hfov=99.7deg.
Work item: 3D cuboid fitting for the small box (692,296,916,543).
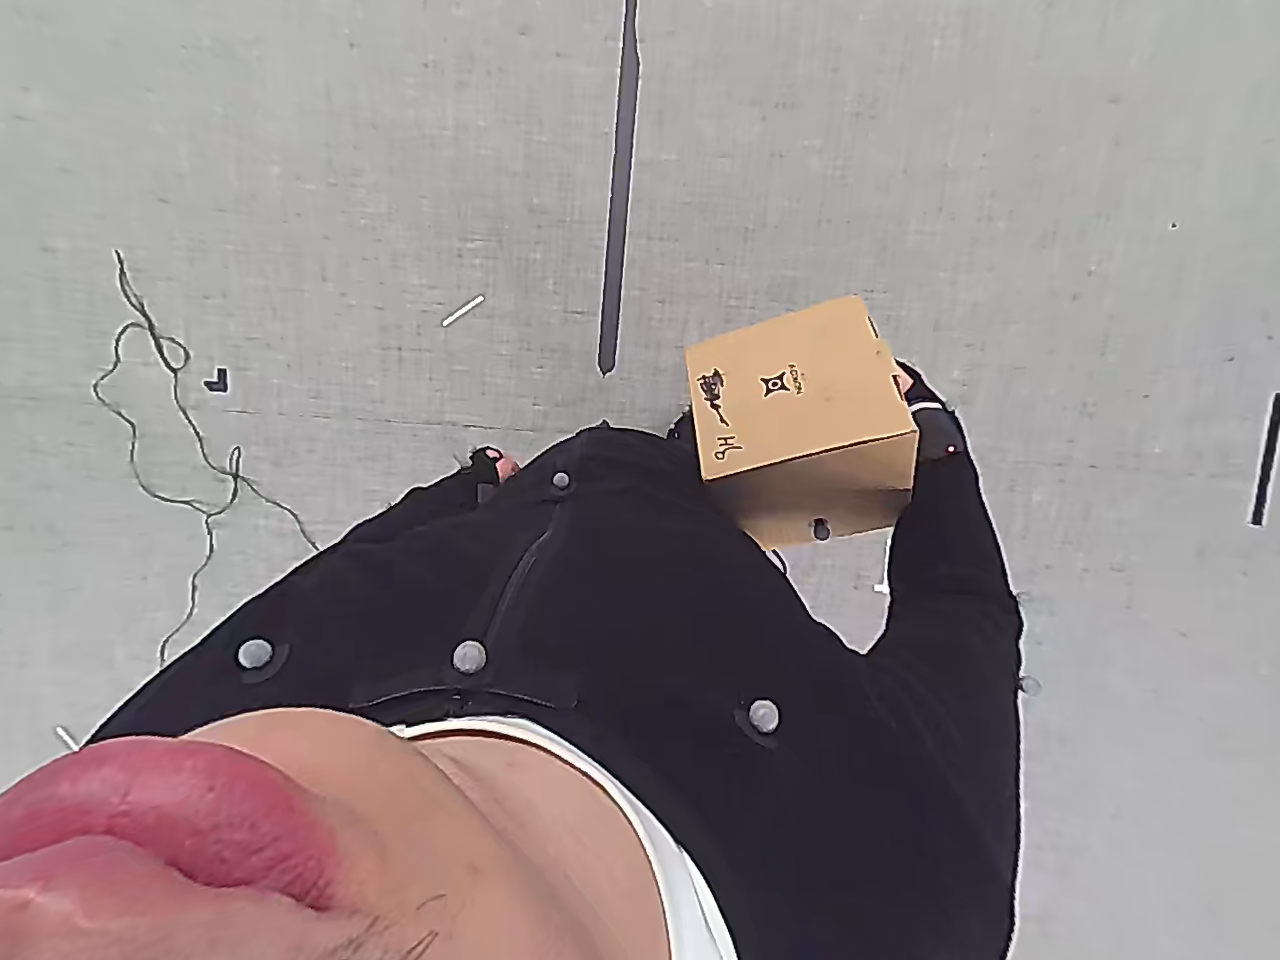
[{"bbox_3d":[0.165,-0.052,0.564,0.179,0.176,0.168,-14,55,15],"label":"small box"}]
